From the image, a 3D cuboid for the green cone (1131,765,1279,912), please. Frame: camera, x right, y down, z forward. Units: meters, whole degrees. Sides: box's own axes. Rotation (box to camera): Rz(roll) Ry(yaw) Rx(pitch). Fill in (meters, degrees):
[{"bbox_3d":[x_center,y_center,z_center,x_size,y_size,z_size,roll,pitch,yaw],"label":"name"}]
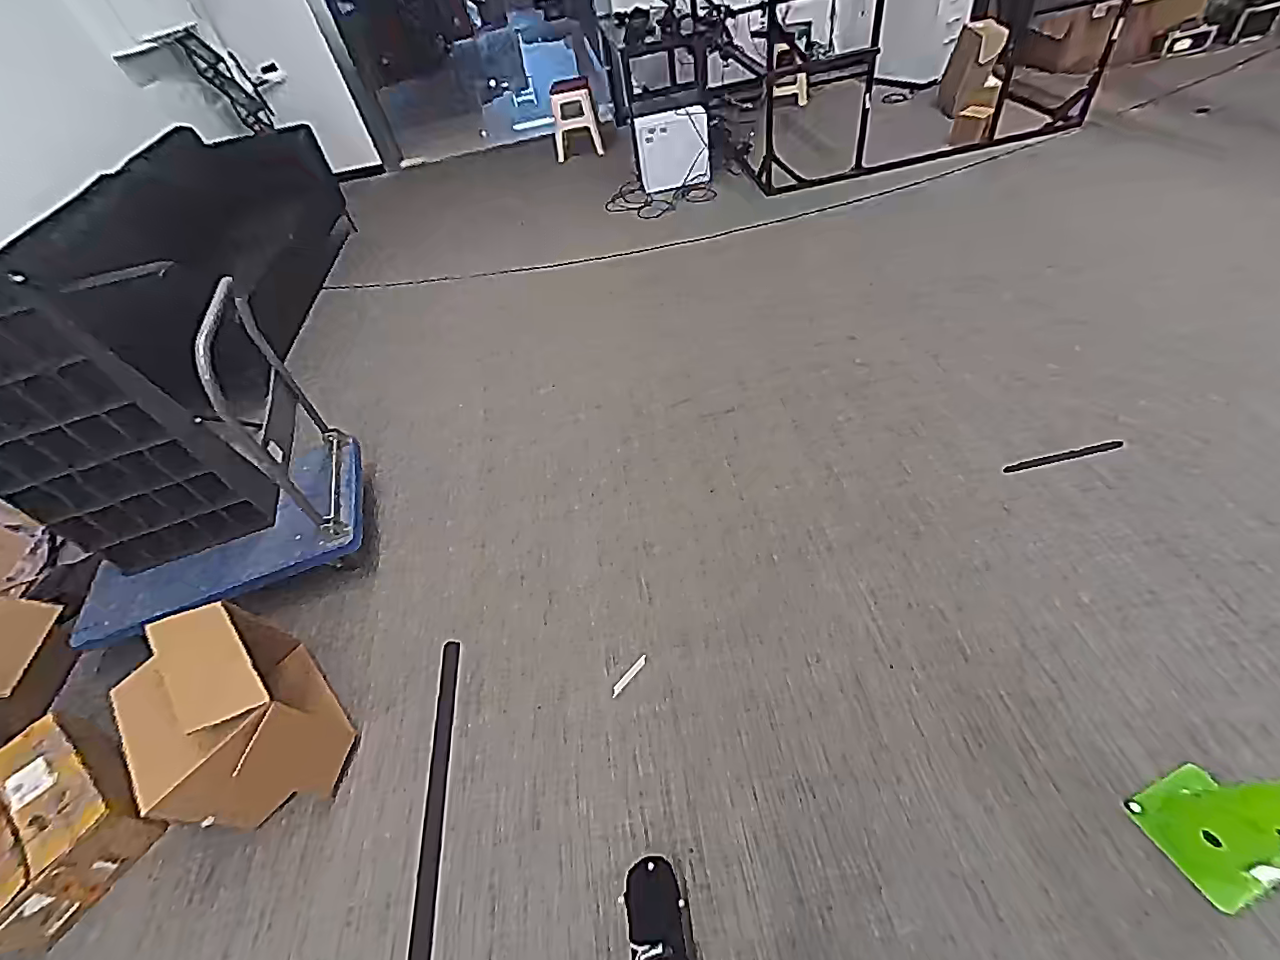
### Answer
[{"bbox_3d":[1.105,0.583,0.941,0.202,0.368,0.200,-23,48,-10],"label":"green cone"}]
